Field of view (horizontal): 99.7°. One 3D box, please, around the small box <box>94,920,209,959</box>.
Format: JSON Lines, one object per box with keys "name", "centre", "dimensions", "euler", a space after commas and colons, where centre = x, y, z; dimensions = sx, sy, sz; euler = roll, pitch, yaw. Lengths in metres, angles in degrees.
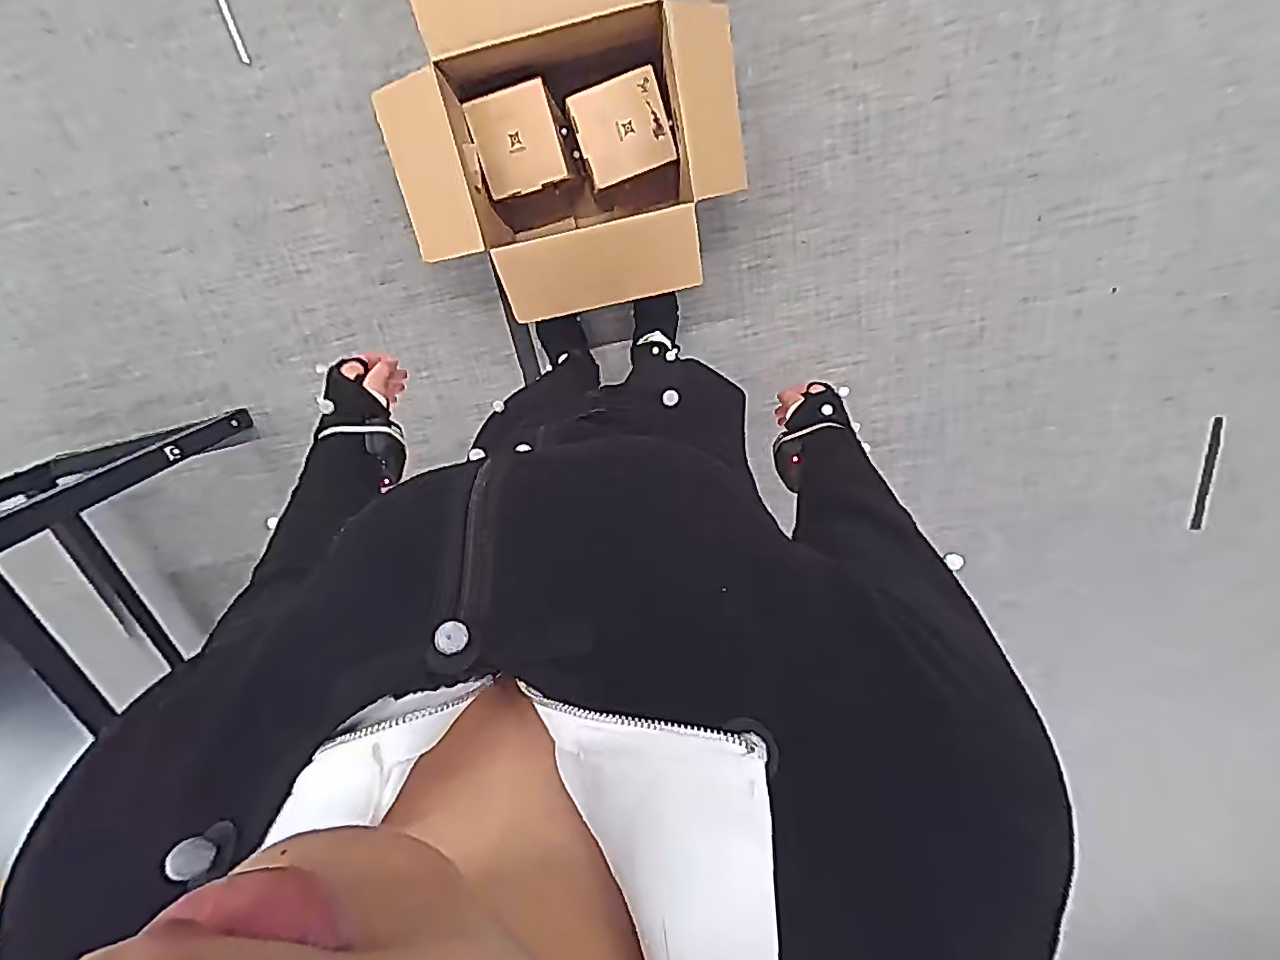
{"name": "small box", "centre": [-1.085, 1.084, 1.148], "dimensions": [0.179, 0.176, 0.168], "euler": [-14, 114, 5]}
